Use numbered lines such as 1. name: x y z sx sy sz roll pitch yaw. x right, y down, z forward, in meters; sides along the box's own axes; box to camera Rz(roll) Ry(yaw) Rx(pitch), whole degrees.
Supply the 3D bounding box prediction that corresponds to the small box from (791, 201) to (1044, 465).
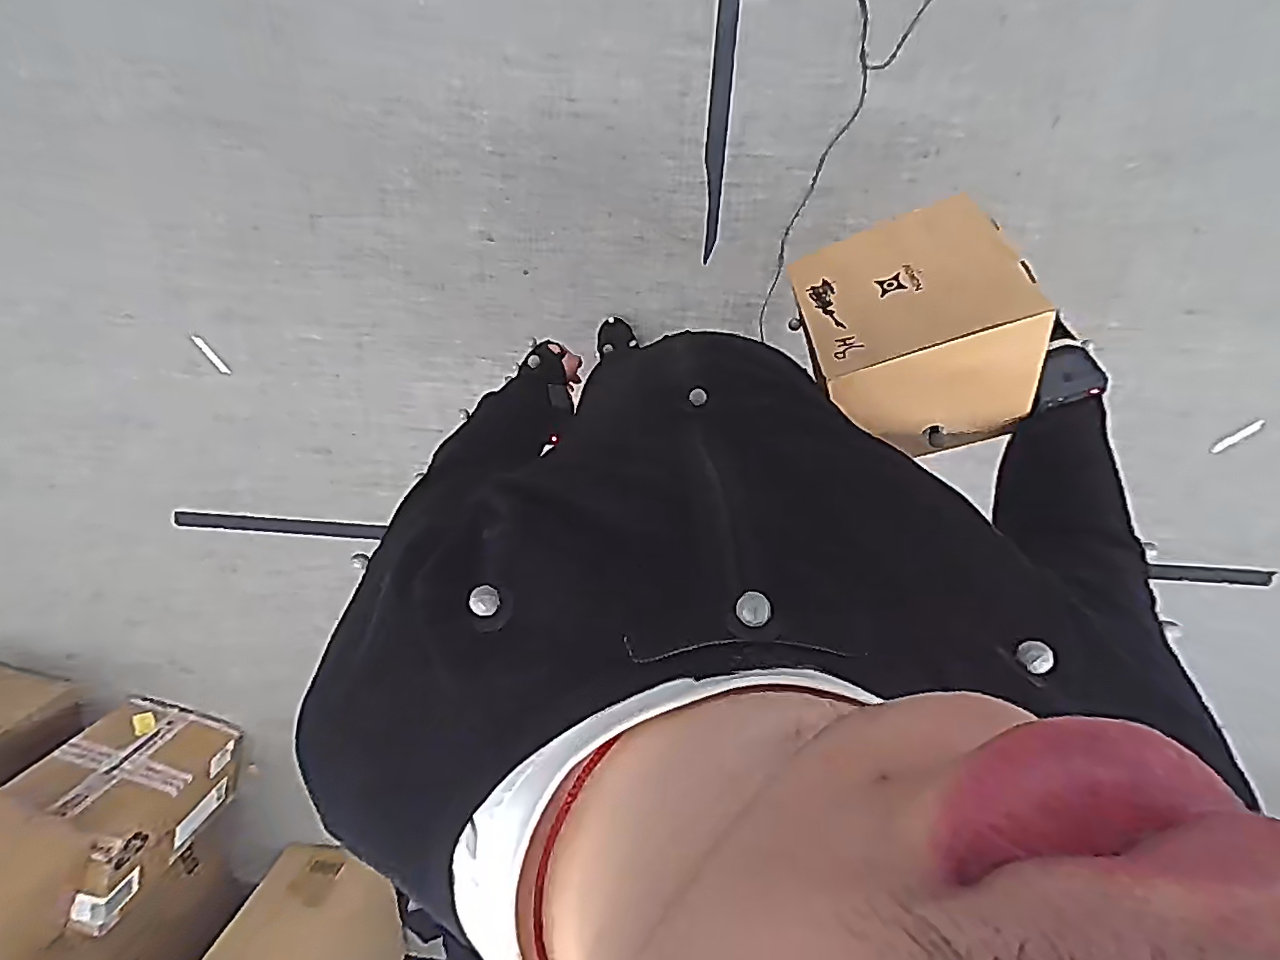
1. small box: 0.272 -0.140 0.562 0.179 0.168 0.176 -16 144 18
